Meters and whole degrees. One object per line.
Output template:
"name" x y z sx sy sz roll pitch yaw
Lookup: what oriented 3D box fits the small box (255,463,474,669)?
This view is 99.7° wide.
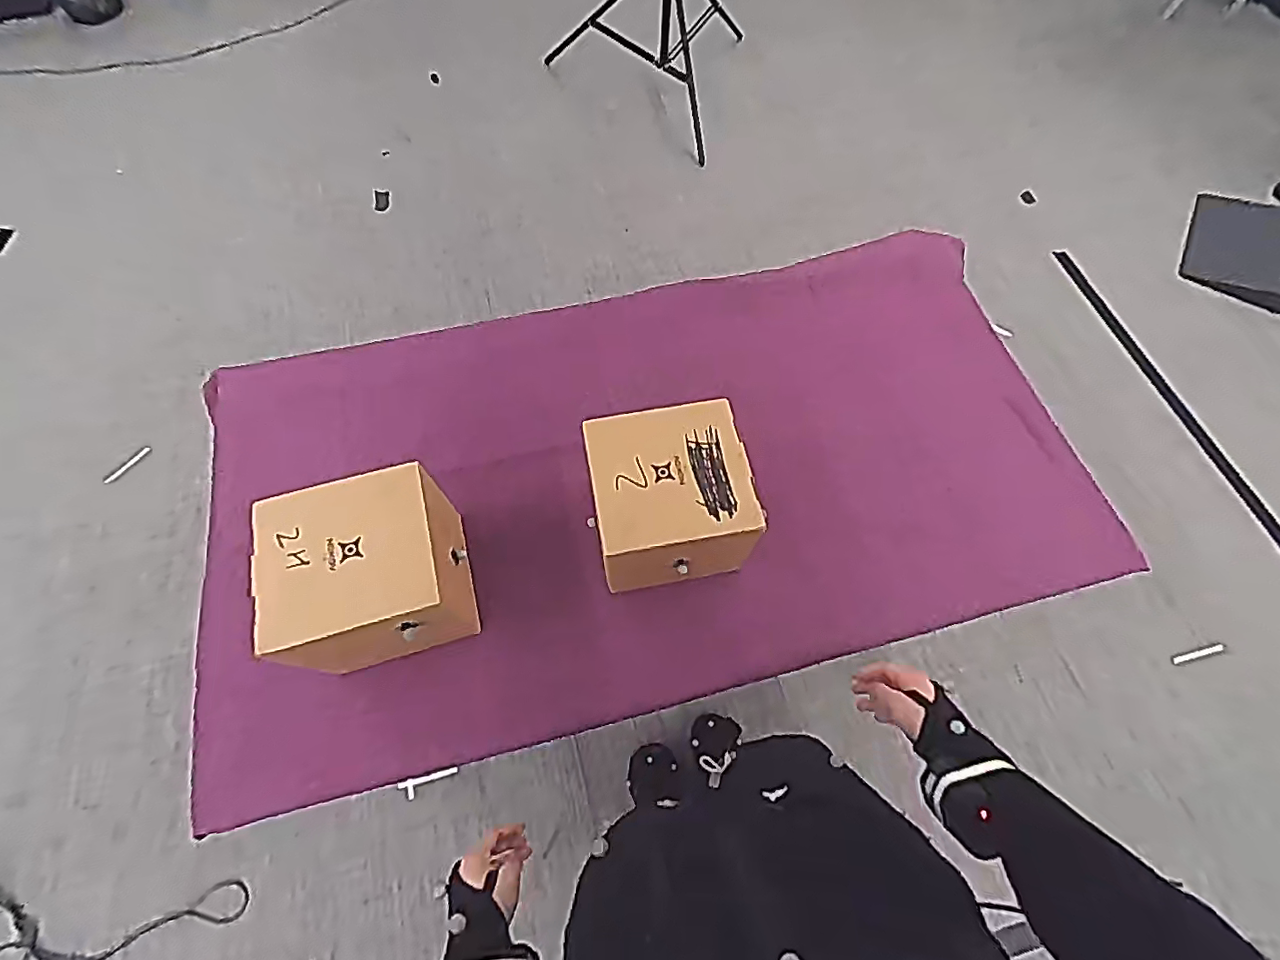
"small box" -0.300 0.105 0.620 0.179 0.176 0.168 -15 66 -8
